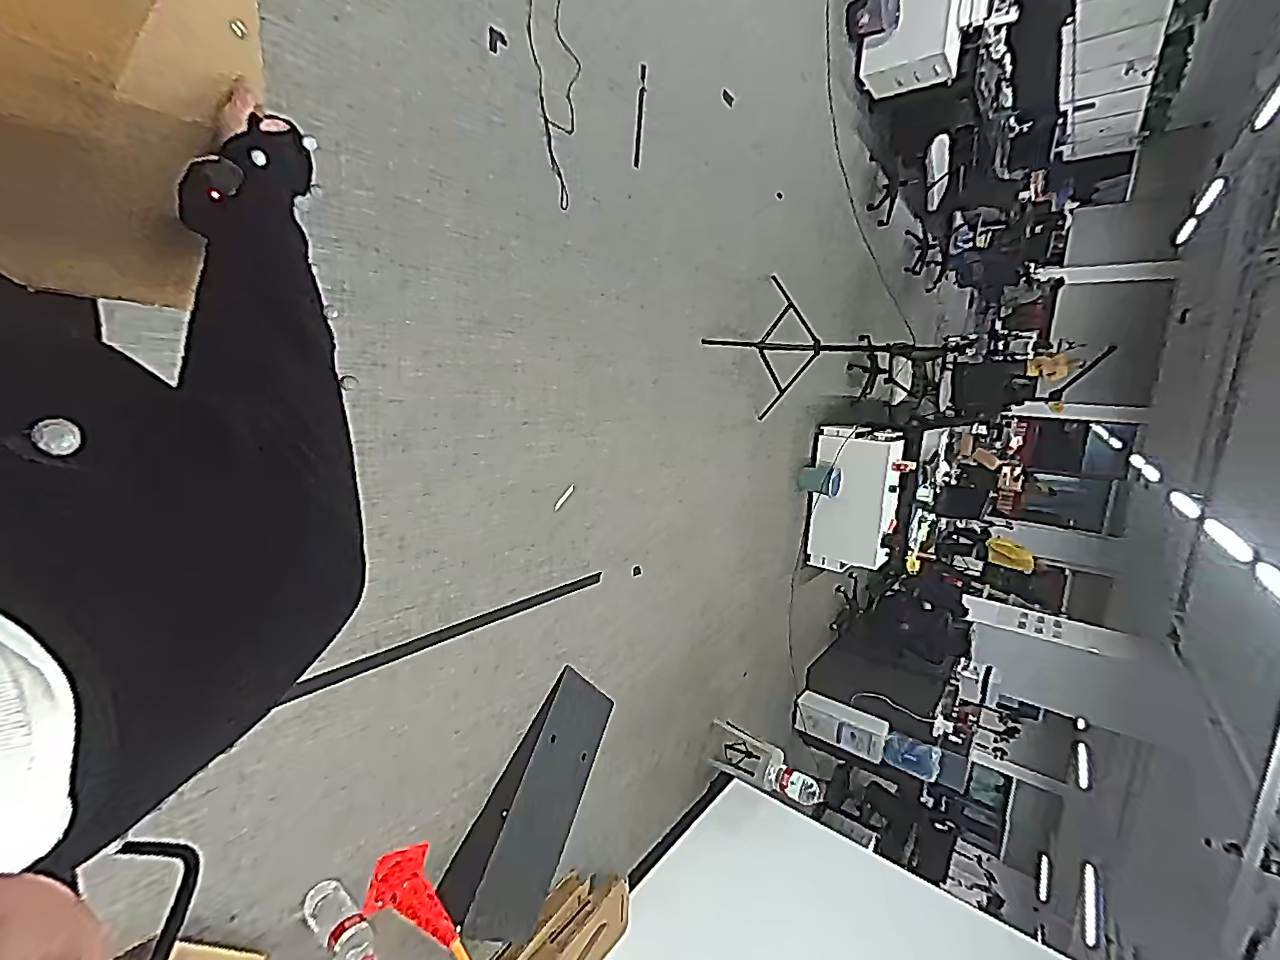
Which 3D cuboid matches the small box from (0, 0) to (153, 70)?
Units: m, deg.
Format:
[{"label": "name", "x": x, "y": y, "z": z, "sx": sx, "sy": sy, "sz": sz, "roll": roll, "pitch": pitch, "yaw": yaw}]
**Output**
[{"label": "small box", "x": -0.465, "y": -0.459, "z": 0.394, "sx": 0.179, "sy": 0.176, "sz": 0.168, "roll": 11, "pitch": 80, "yaw": -52}]
